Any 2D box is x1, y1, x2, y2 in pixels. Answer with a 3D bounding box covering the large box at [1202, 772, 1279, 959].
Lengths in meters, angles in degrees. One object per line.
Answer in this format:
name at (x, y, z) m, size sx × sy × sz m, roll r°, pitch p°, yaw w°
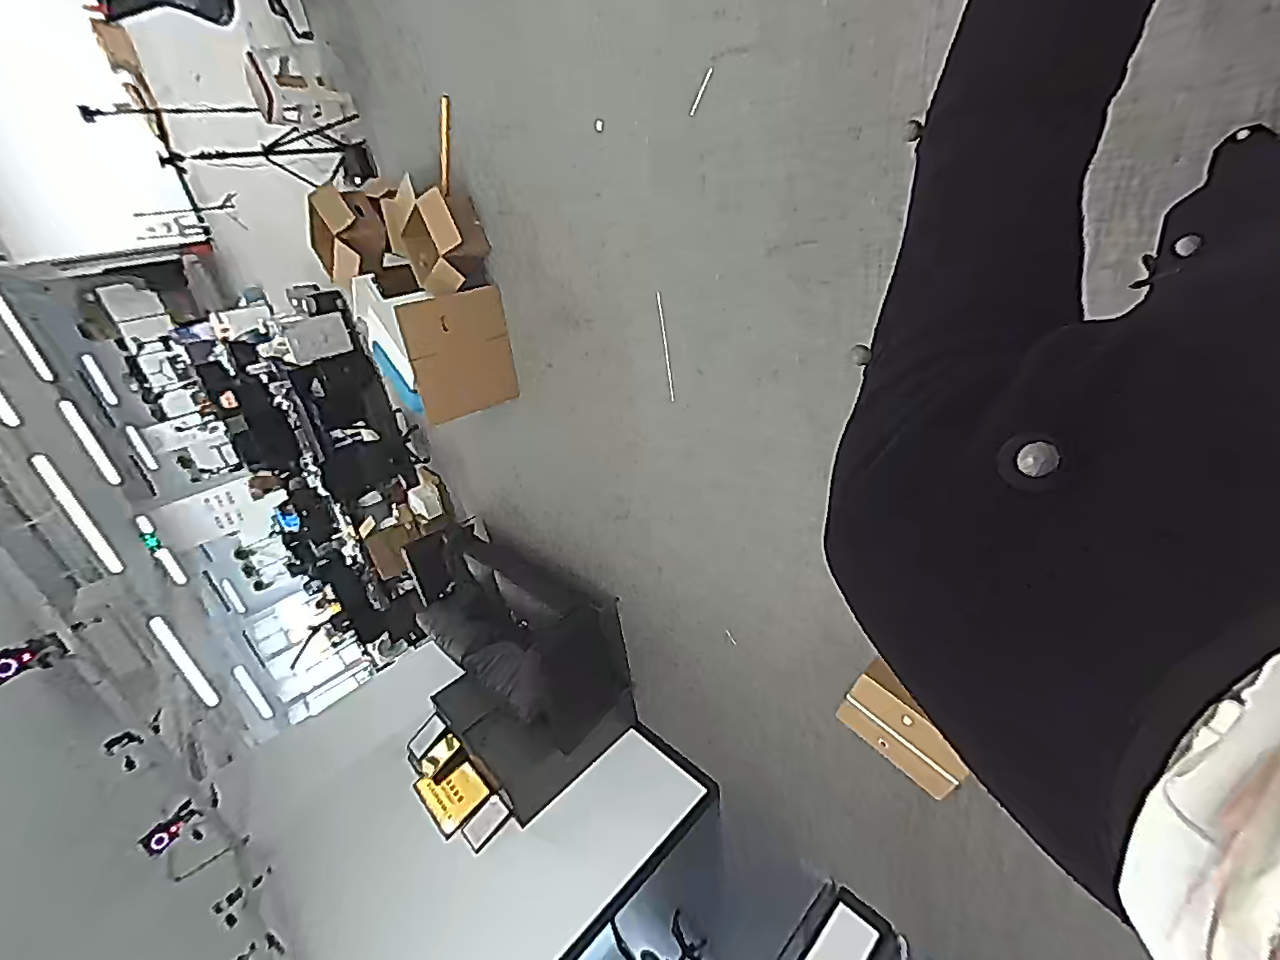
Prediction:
large box at (1.608, 0.910, 1.206) m, size 0.408 × 0.320 × 0.320 m, roll -30°, pitch 90°, yaw 54°
